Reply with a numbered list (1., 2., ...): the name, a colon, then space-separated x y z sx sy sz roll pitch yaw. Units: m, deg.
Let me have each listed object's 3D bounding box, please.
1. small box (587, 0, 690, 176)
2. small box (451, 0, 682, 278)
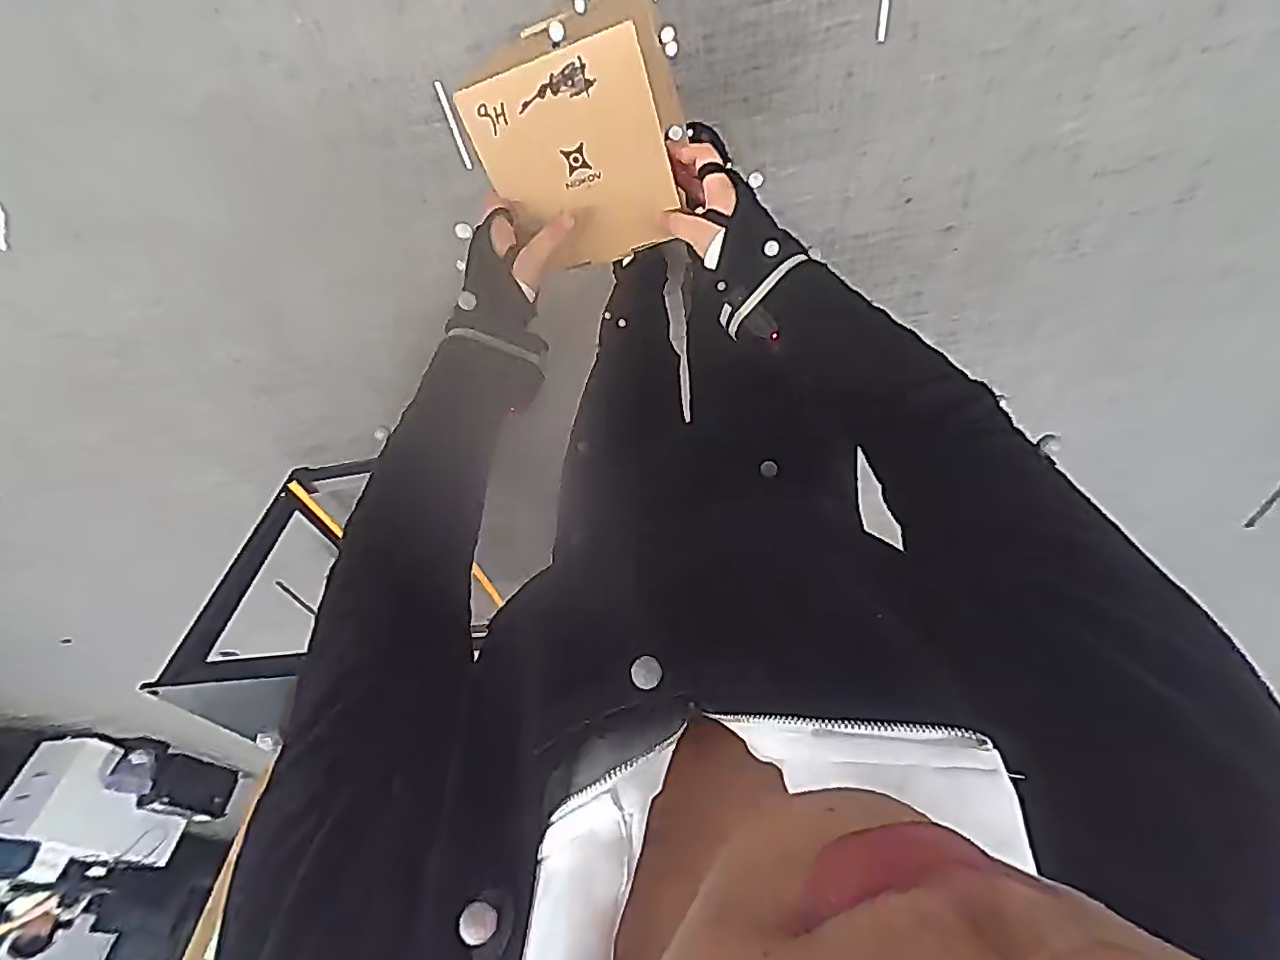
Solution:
1. small box: -0.042 -0.471 0.675 0.168 0.176 0.179 -13 135 15
2. small box: -0.054 -0.341 0.546 0.168 0.176 0.179 -10 137 15
